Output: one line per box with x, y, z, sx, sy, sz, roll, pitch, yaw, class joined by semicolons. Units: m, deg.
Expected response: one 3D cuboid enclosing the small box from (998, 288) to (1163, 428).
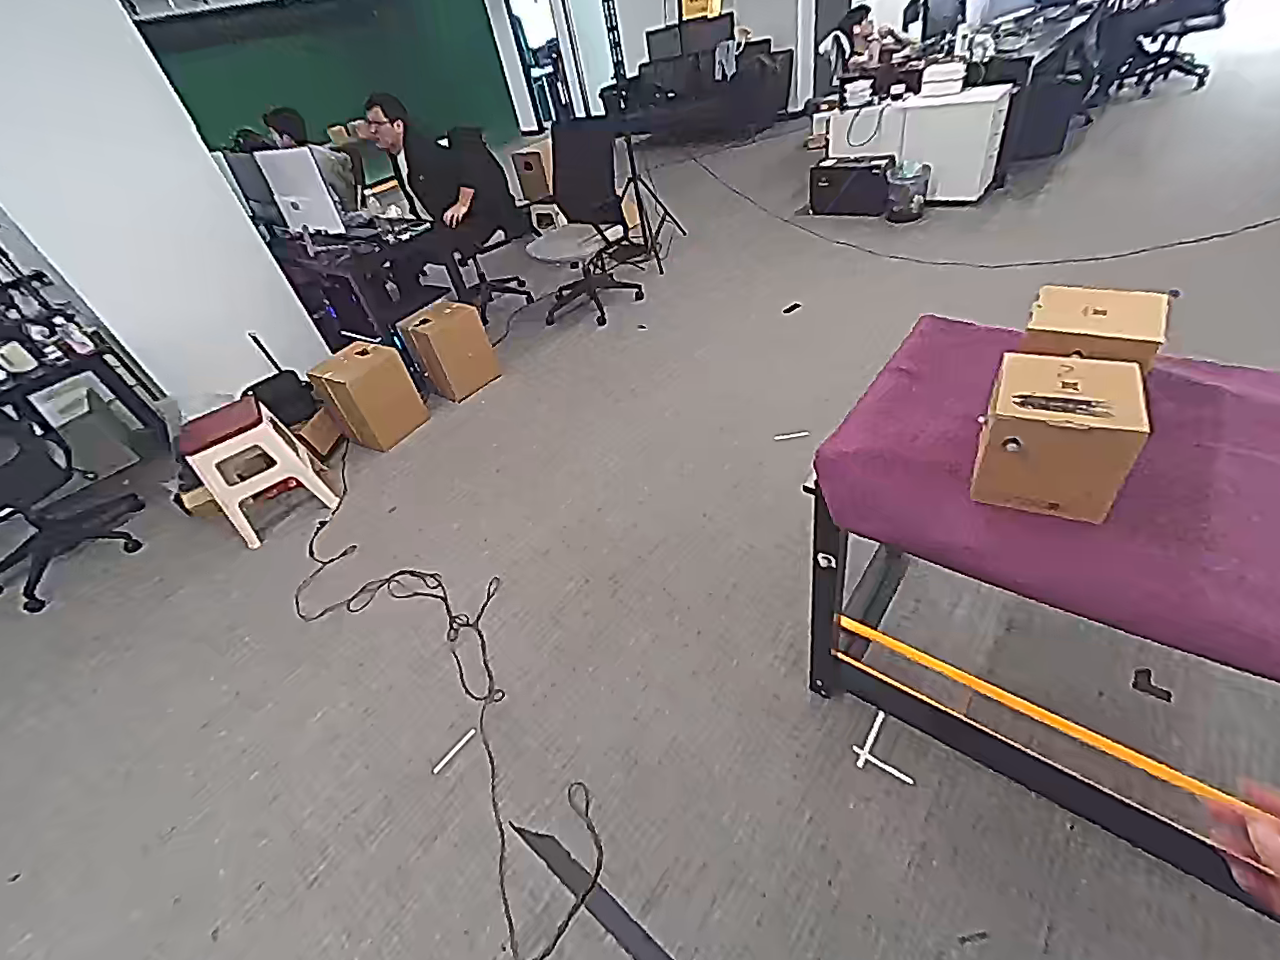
0.759;-0.212;0.944;0.179;0.176;0.168;19;50;32;small box
